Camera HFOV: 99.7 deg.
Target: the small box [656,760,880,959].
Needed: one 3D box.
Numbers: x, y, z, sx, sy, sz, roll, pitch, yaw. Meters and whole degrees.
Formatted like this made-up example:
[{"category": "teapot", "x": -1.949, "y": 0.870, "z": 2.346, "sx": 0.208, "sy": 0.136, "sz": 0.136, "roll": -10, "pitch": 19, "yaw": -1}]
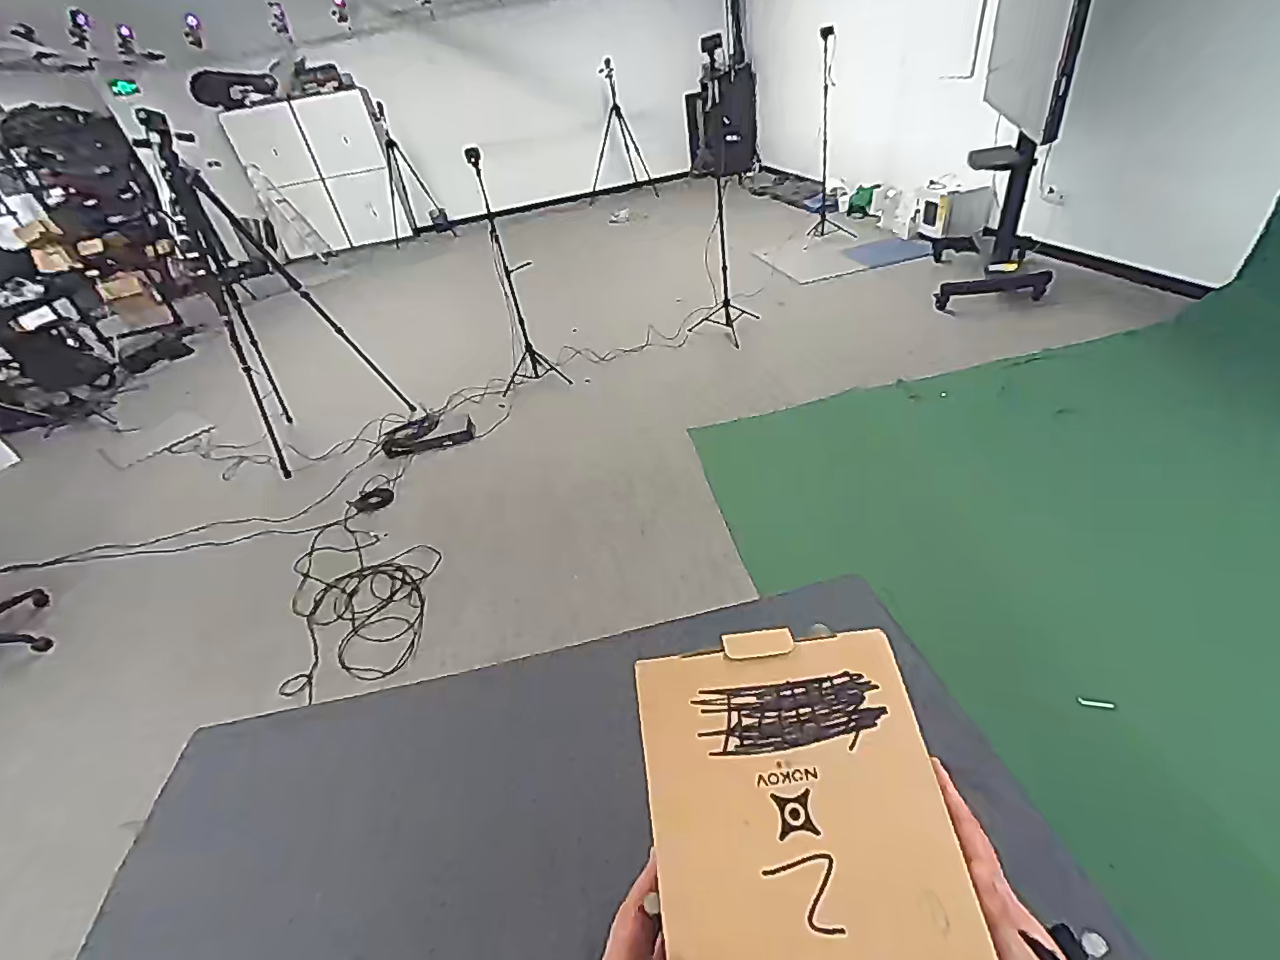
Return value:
[{"category": "small box", "x": 0.123, "y": 0.435, "z": 0.563, "sx": 0.168, "sy": 0.176, "sz": 0.179, "roll": -14, "pitch": 35, "yaw": -4}]
